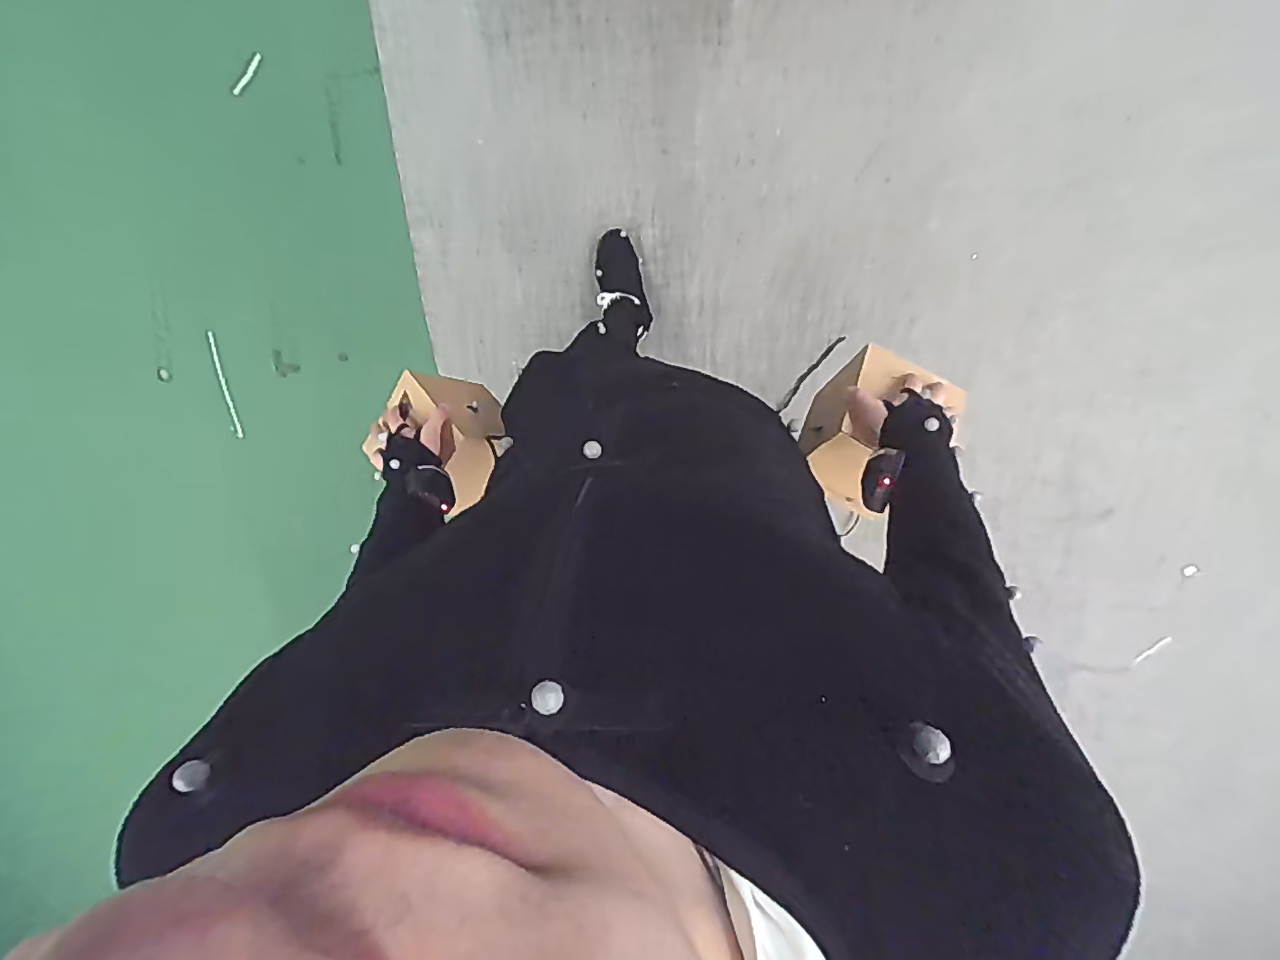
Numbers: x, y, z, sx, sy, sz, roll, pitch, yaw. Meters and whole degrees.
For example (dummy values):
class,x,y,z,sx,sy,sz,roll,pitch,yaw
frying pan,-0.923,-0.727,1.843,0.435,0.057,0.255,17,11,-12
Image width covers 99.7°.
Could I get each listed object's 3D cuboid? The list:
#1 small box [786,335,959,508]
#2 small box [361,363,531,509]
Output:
class,x,y,z,sx,sy,sz,roll,pitch,yaw
small box,0.351,-0.080,0.841,0.168,0.176,0.179,28,66,-2
small box,-0.322,-0.067,0.911,0.179,0.176,0.168,44,110,21
